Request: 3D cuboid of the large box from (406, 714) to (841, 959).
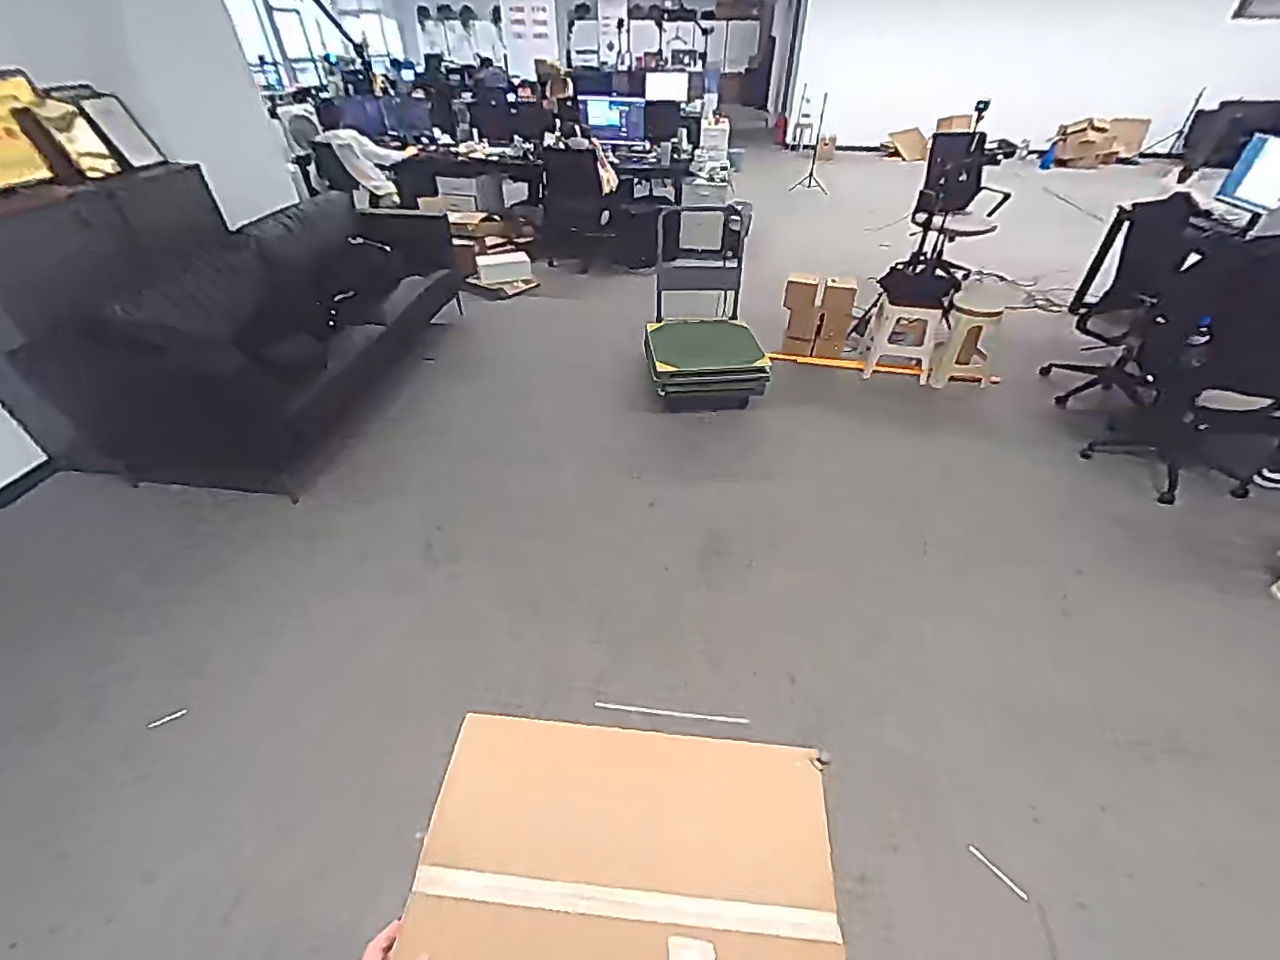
[{"bbox_3d":[-0.015,0.501,0.633,0.408,0.320,0.320,4,48,2],"label":"large box"}]
